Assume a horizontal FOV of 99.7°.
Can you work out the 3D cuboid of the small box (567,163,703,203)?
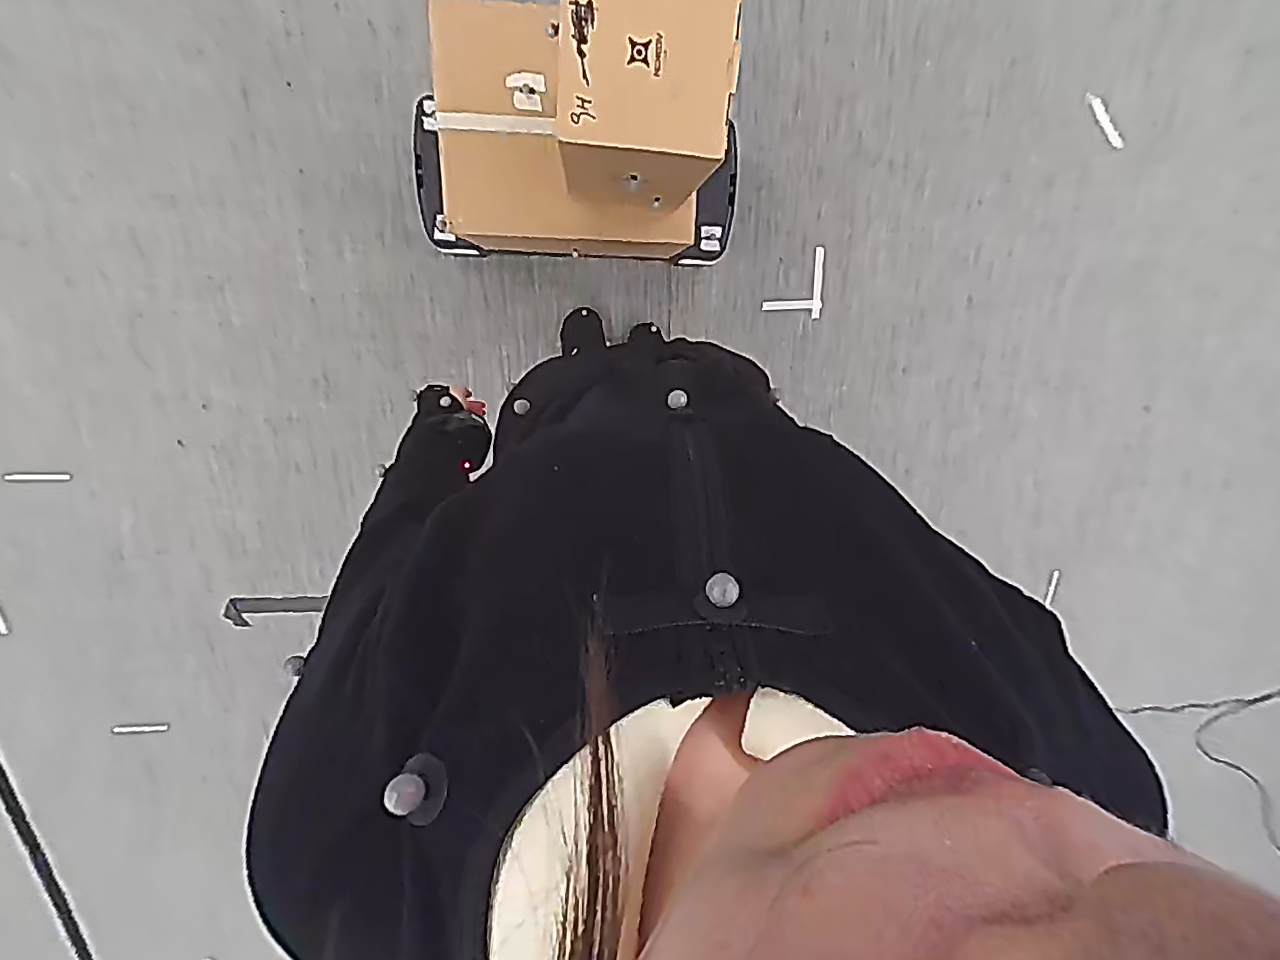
[{"bbox_3d":[-0.004,-0.490,0.744,0.179,0.176,0.168,4,108,-5],"label":"small box"}]

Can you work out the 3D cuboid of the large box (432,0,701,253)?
[{"bbox_3d":[-0.108,-0.583,0.964,0.408,0.320,0.320,1,107,-4],"label":"large box"}]

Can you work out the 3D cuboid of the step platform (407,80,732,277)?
[{"bbox_3d":[-0.144,-0.642,1.192,0.684,0.204,0.286,6,108,-6],"label":"step platform"}]

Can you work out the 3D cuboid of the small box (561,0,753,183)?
[{"bbox_3d":[0.008,-0.438,0.590,0.179,0.176,0.168,3,107,-7],"label":"small box"}]
